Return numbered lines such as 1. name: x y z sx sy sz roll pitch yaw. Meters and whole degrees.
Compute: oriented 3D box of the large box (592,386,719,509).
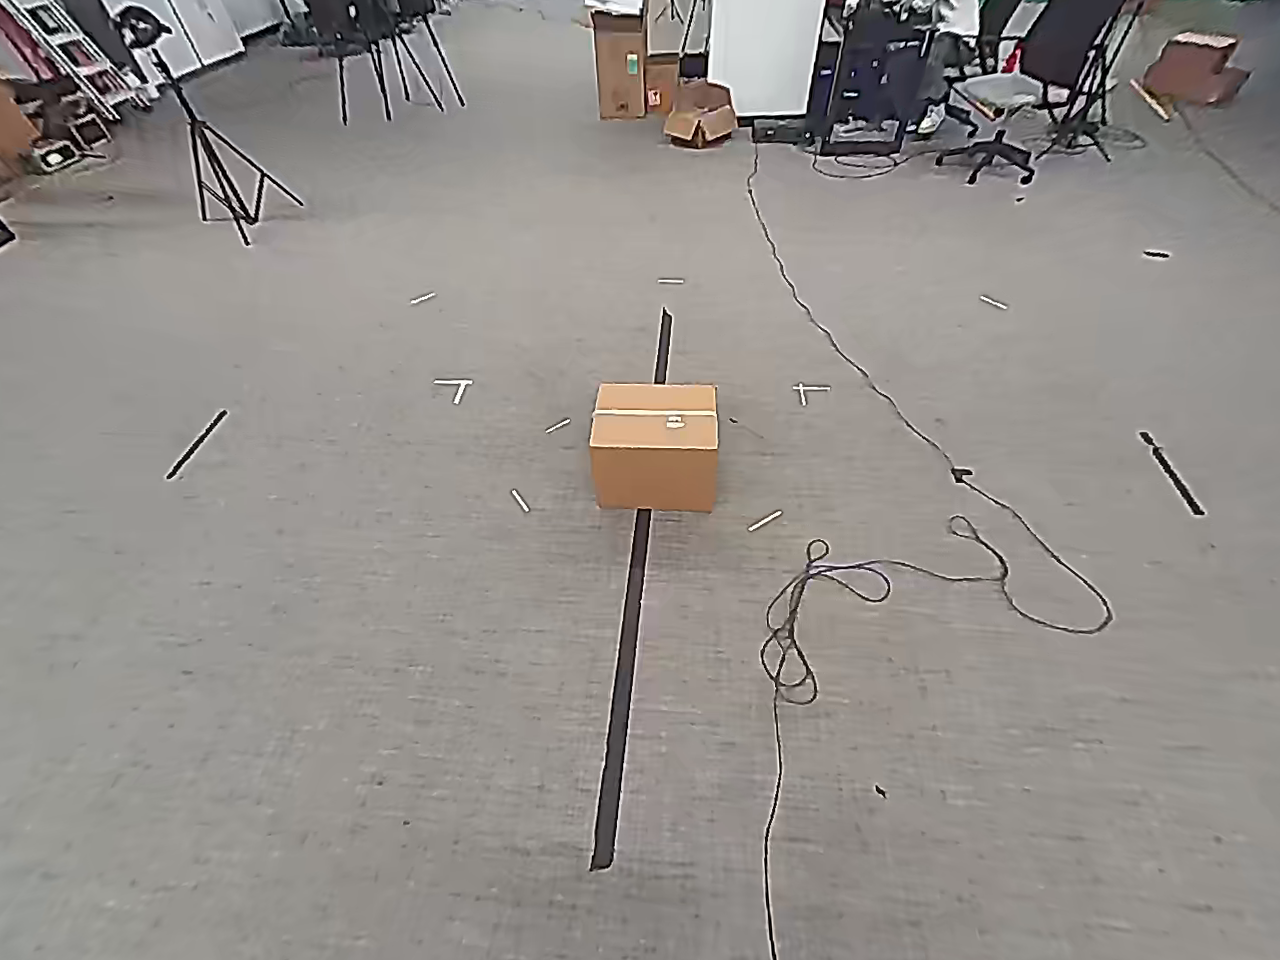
1. large box: 0.056 -0.111 1.890 0.408 0.320 0.320 2 49 3
